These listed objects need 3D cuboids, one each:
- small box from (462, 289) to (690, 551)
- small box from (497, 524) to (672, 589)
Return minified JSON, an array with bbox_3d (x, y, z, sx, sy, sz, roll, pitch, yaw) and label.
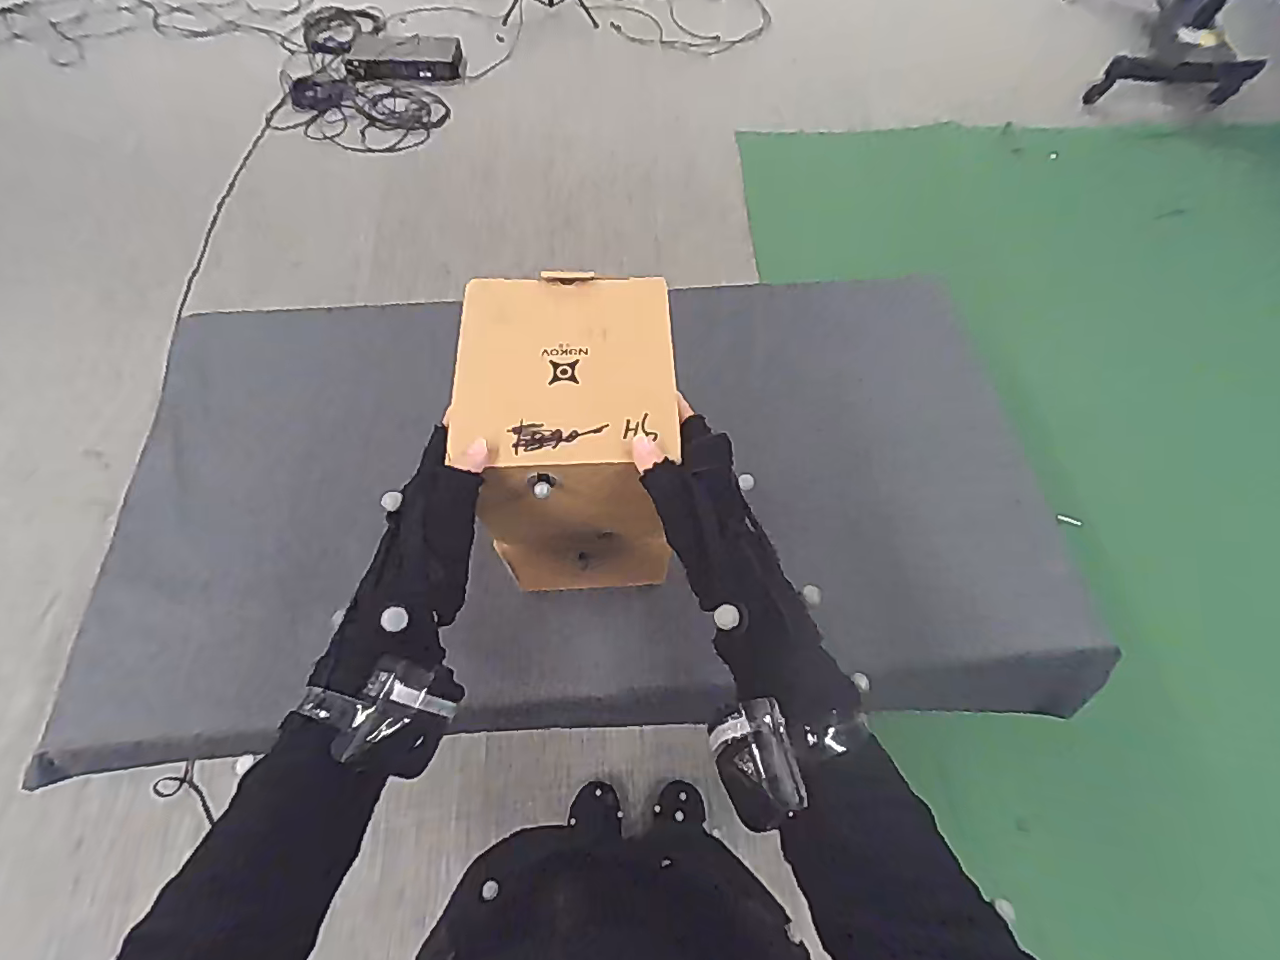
[{"bbox_3d":[-0.054,-0.048,0.494,0.168,0.176,0.179,-4,64,-4],"label":"small box"},{"bbox_3d":[-0.059,0.027,0.637,0.179,0.176,0.168,-3,64,-3],"label":"small box"}]
